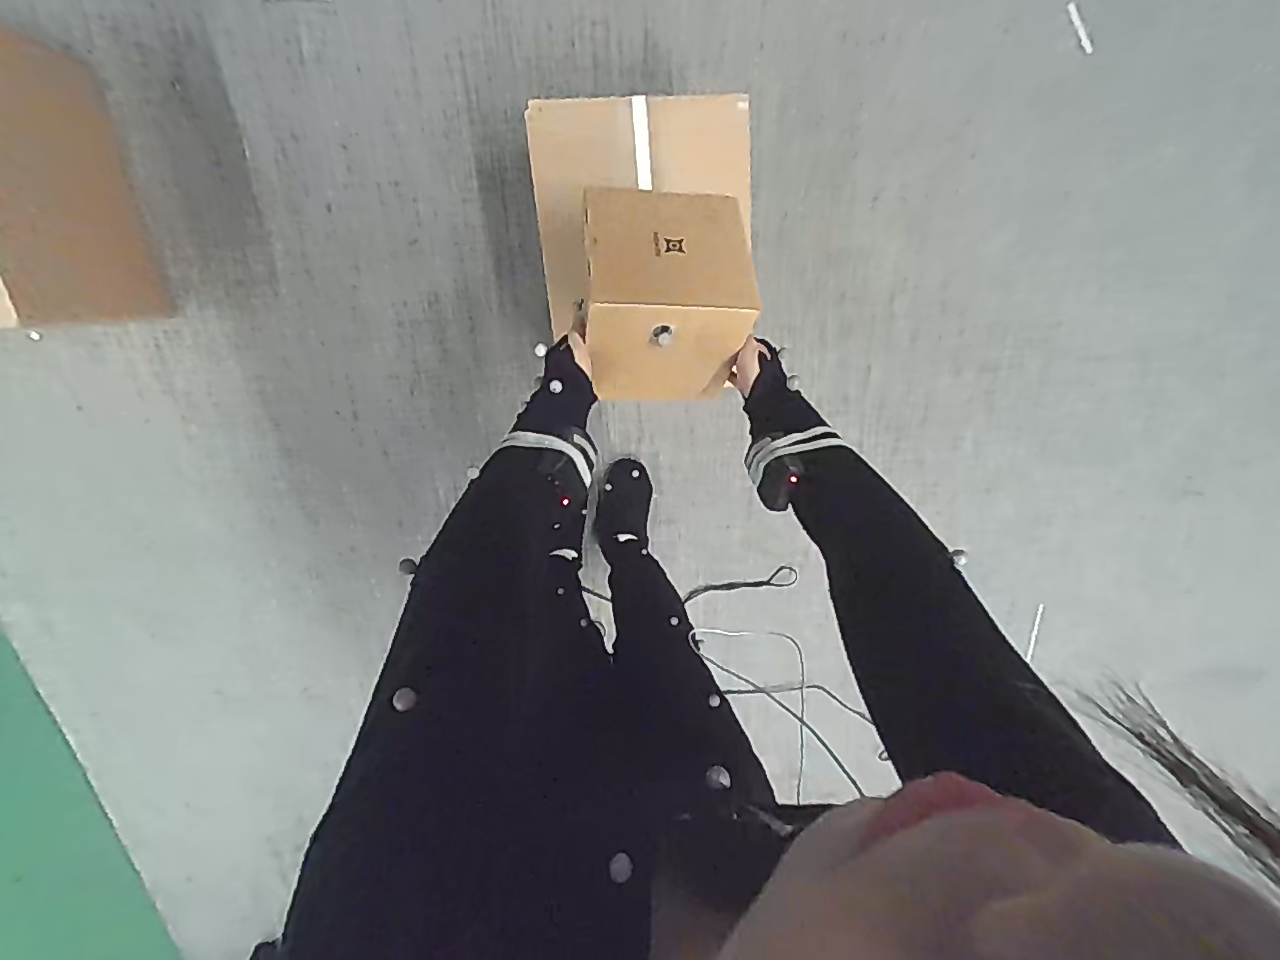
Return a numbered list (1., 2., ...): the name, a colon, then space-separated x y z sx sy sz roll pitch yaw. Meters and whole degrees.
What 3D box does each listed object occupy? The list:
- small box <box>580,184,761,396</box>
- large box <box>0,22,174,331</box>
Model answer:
1. small box: 0.022 -0.211 0.637 0.179 0.176 0.168 0 66 -9
2. large box: -1.017 -0.432 0.797 0.320 0.320 0.408 -6 109 -4
